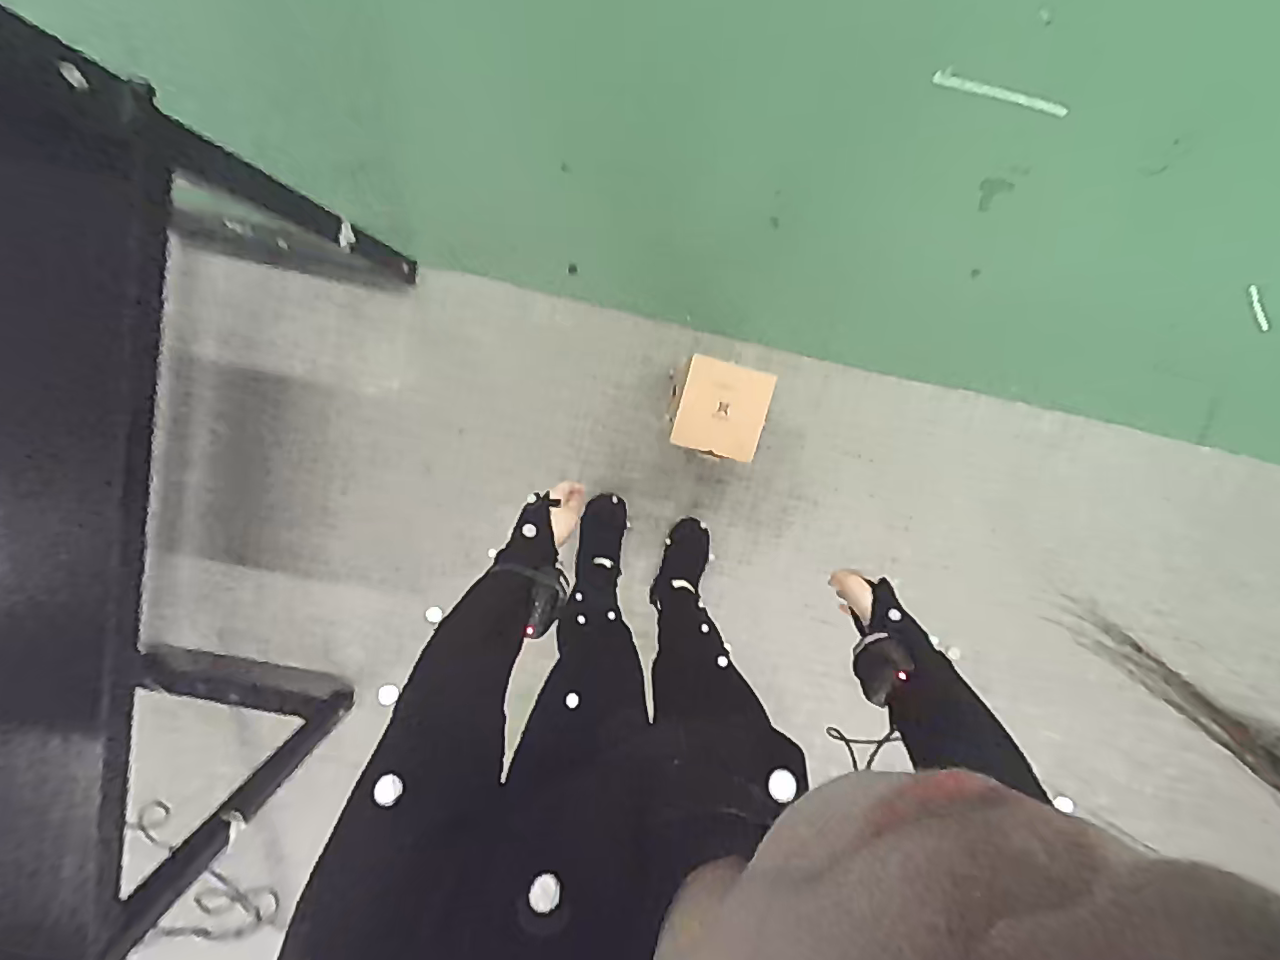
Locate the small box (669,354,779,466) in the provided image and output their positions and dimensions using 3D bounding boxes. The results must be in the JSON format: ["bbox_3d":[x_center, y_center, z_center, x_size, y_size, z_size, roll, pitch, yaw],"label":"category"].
[{"bbox_3d":[0.156,-0.140,1.079,0.168,0.176,0.179,14,98,-3],"label":"small box"}]

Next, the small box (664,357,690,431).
[{"bbox_3d":[0.159,-0.172,1.237,0.179,0.176,0.168,15,99,-4],"label":"small box"}]
